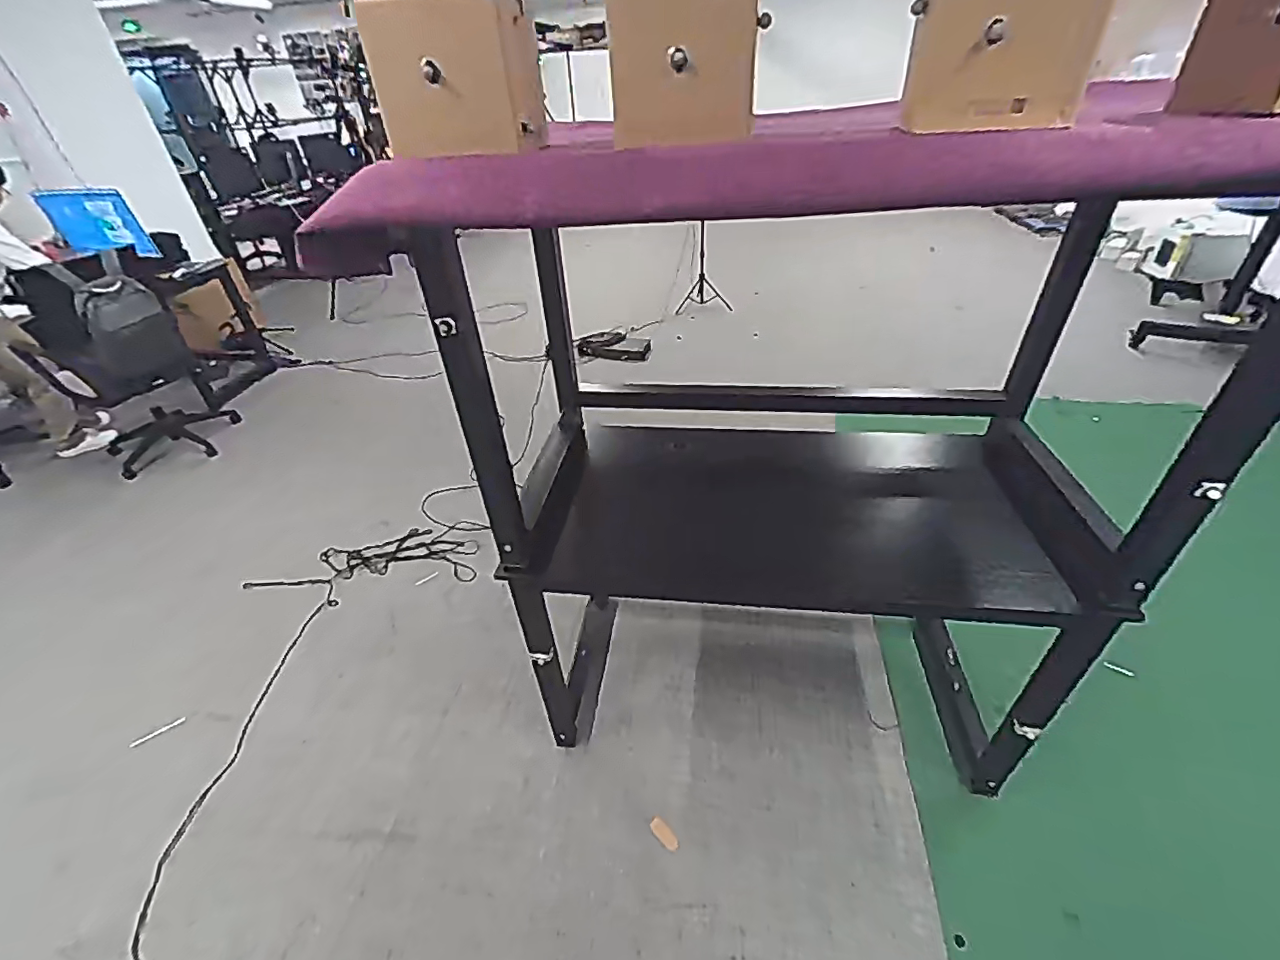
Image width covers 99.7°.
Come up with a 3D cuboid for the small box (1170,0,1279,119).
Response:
[{"bbox_3d":[0.762,-0.504,0.594,0.168,0.176,0.179,2,34,7],"label":"small box"}]

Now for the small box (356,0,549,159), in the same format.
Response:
[{"bbox_3d":[-0.229,-0.534,0.715,0.179,0.176,0.168,1,36,6],"label":"small box"}]

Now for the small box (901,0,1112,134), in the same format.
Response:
[{"bbox_3d":[0.423,-0.513,0.639,0.168,0.176,0.179,6,36,13],"label":"small box"}]
